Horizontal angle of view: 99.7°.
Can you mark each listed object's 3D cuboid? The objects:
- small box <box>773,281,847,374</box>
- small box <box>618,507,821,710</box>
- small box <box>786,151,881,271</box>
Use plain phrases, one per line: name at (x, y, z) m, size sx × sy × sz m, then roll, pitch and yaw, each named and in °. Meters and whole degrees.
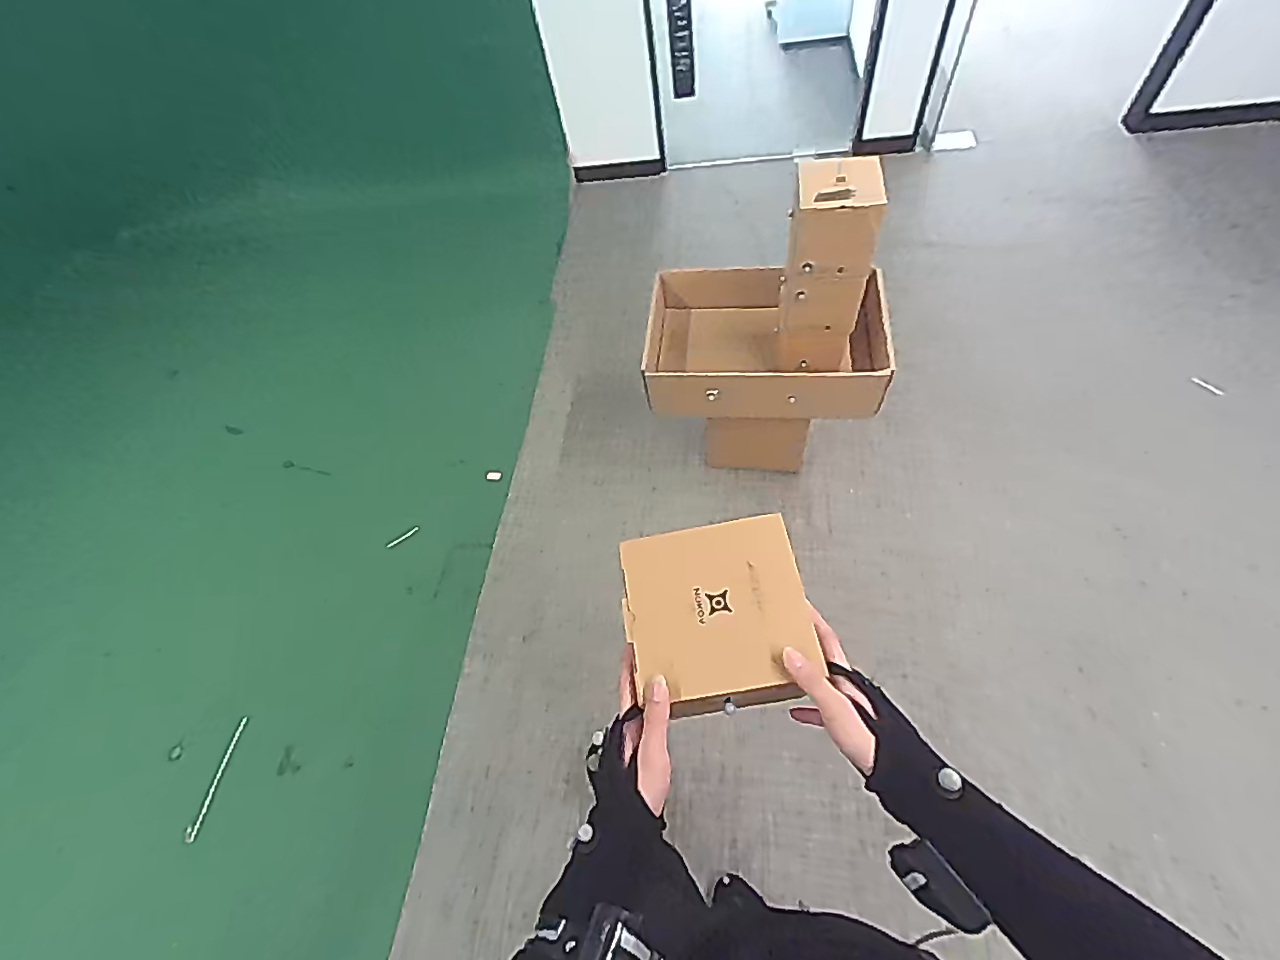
small box at (0.447, -0.406, 1.445) m, size 0.168 × 0.176 × 0.179 m, roll 3°, pitch 60°, yaw 10°
small box at (0.082, 0.151, 0.598) m, size 0.179 × 0.176 × 0.168 m, roll -10°, pitch 61°, yaw 3°
small box at (0.407, -0.570, 1.163) m, size 0.168 × 0.176 × 0.179 m, roll 2°, pitch 59°, yaw 9°
